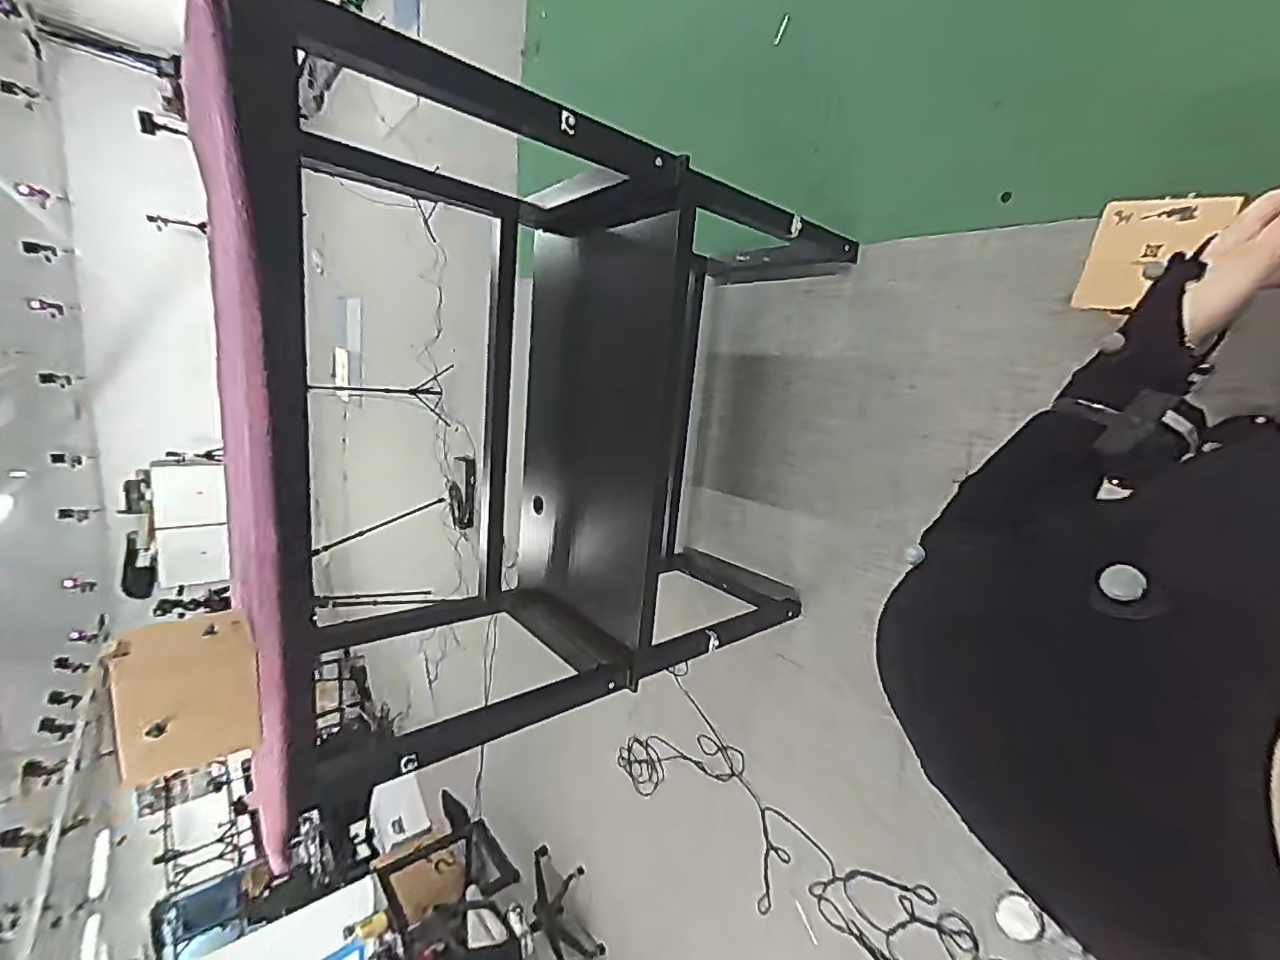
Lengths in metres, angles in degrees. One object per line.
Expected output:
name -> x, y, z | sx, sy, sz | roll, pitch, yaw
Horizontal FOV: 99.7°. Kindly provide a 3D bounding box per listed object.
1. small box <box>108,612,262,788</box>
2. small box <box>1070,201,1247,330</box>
small box -> -0.711, 0.332, 0.855 | 0.168, 0.176, 0.179 | 16, 105, 47
small box -> 0.883, -0.358, 0.921 | 0.168, 0.176, 0.179 | 28, 114, 46
